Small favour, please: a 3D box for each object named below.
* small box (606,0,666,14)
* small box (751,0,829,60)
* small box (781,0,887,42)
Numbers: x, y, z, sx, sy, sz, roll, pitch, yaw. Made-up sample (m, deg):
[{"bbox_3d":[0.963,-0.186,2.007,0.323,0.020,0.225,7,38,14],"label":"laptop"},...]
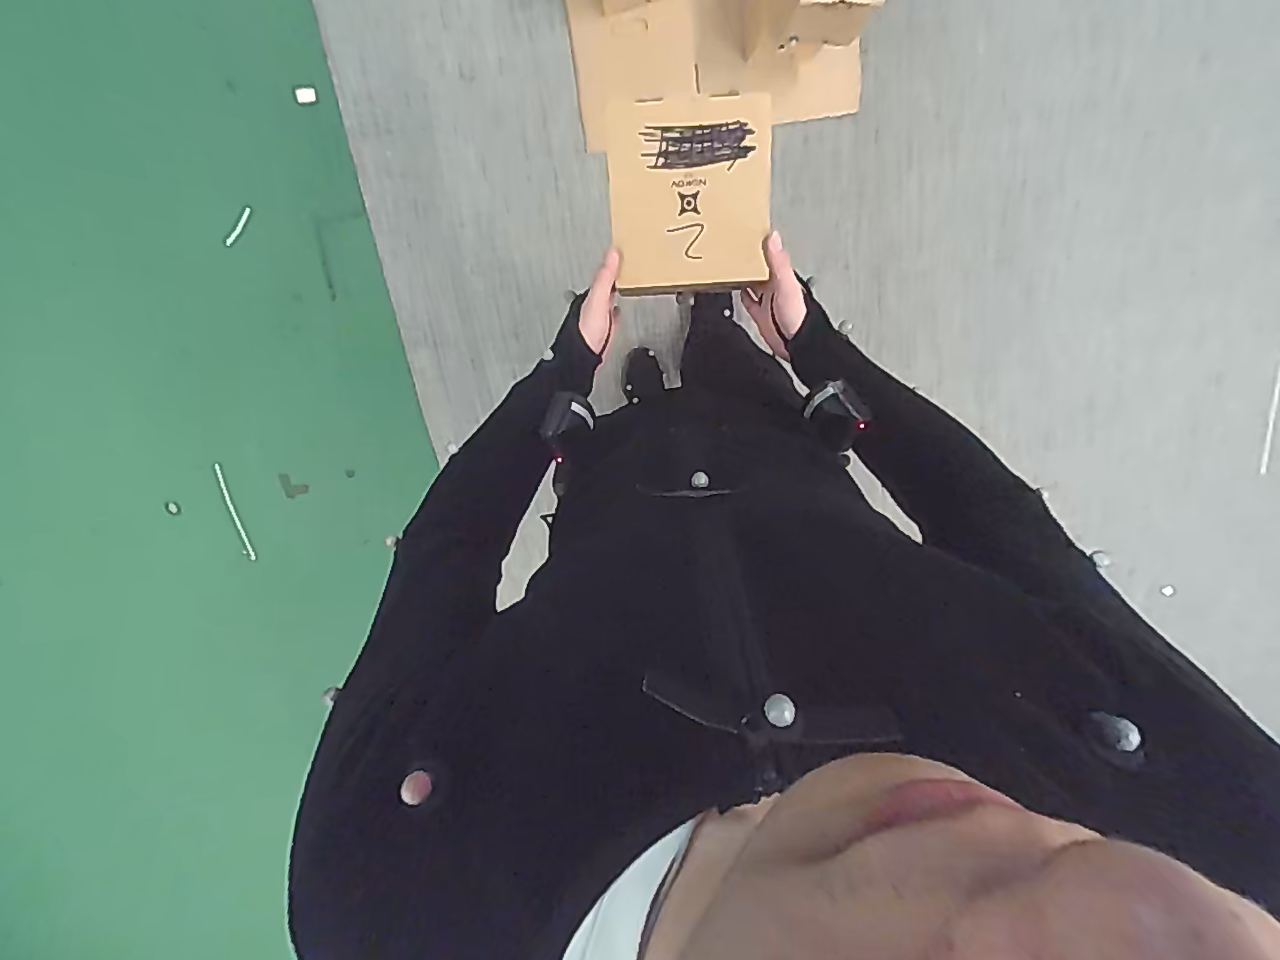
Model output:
[{"bbox_3d":[-0.013,-1.168,1.166,0.168,0.176,0.179,-14,107,3],"label":"small box"},{"bbox_3d":[0.347,-1.067,1.204,0.168,0.176,0.179,-3,107,0],"label":"small box"},{"bbox_3d":[0.382,-0.995,1.055,0.168,0.176,0.179,0,106,-2],"label":"small box"}]
